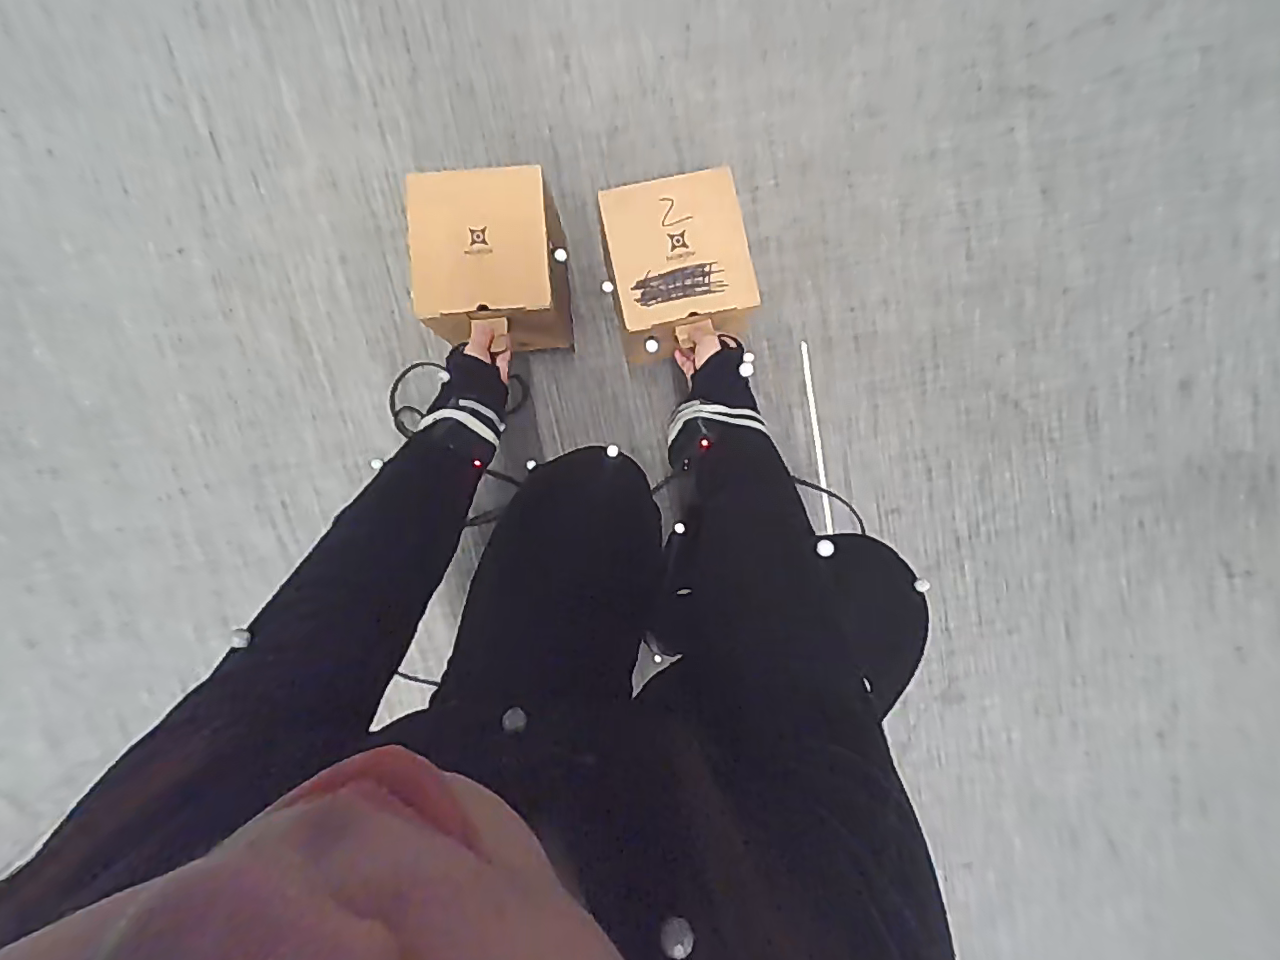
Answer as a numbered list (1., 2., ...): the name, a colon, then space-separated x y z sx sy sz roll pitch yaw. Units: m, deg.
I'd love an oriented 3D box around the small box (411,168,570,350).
1. small box: -0.191 -0.286 0.732 0.168 0.176 0.179 -4 91 1
